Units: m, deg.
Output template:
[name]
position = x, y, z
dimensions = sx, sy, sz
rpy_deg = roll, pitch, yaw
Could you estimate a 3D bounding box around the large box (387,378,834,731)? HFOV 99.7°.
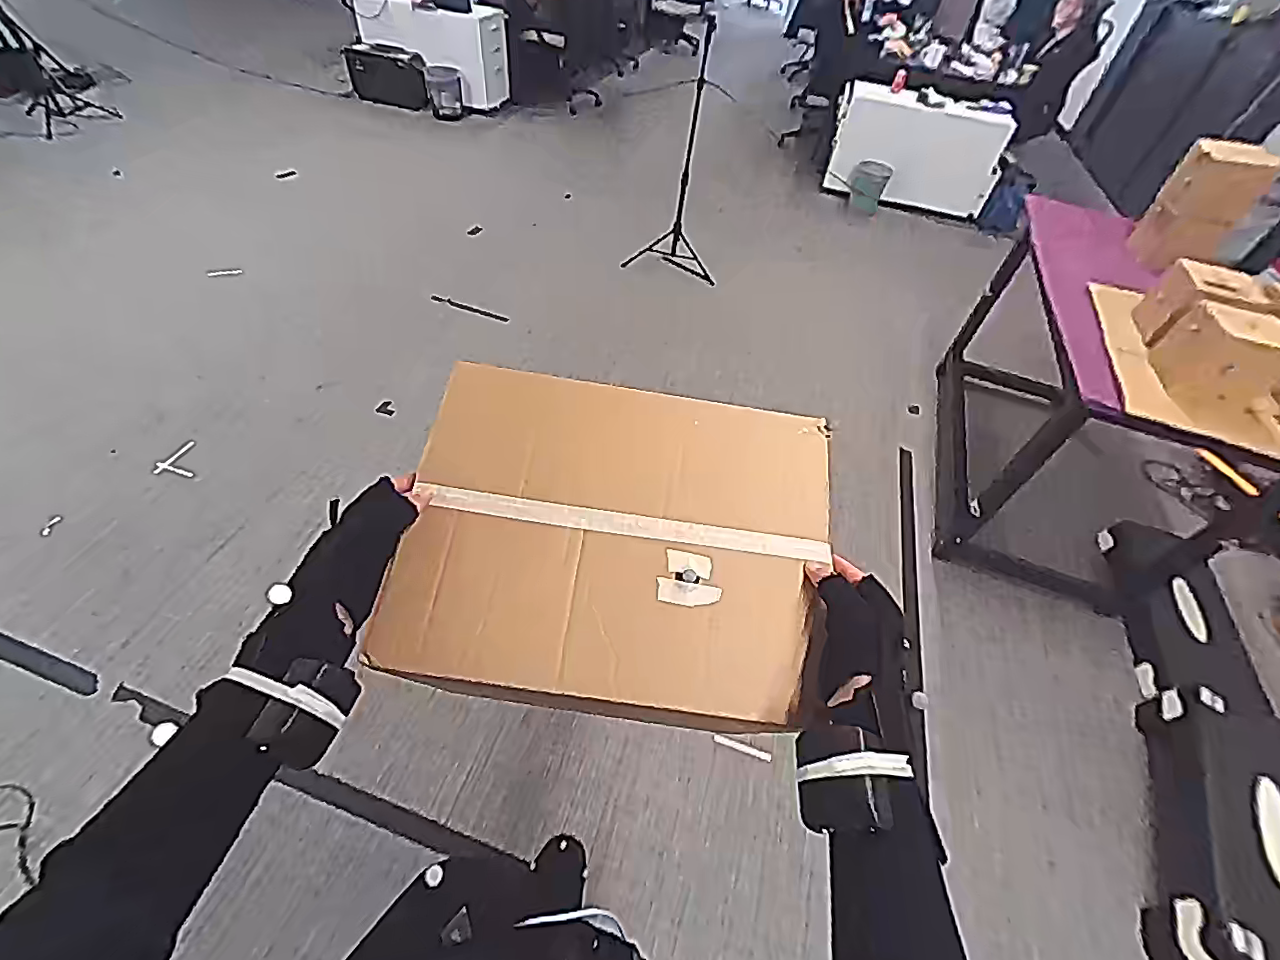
[large box]
position = -0.023, 0.116, 0.667
dimensions = 0.408, 0.320, 0.320
rpy_deg = 10, 65, -2
